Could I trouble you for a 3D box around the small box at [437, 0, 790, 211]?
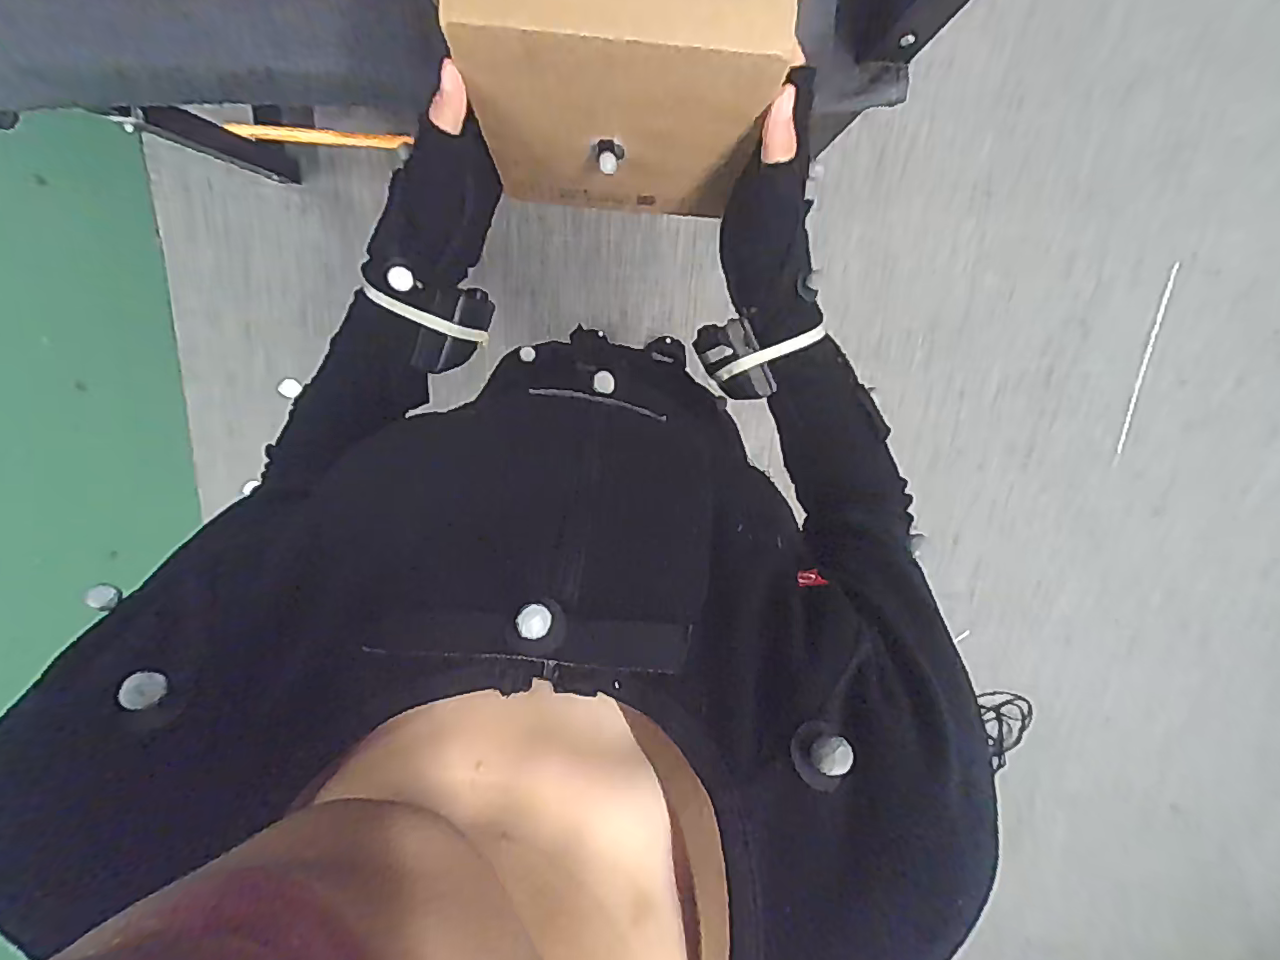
[{"bbox_3d":[-0.010,-0.290,0.328,0.168,0.176,0.179,4,90,-4],"label":"small box"}]
